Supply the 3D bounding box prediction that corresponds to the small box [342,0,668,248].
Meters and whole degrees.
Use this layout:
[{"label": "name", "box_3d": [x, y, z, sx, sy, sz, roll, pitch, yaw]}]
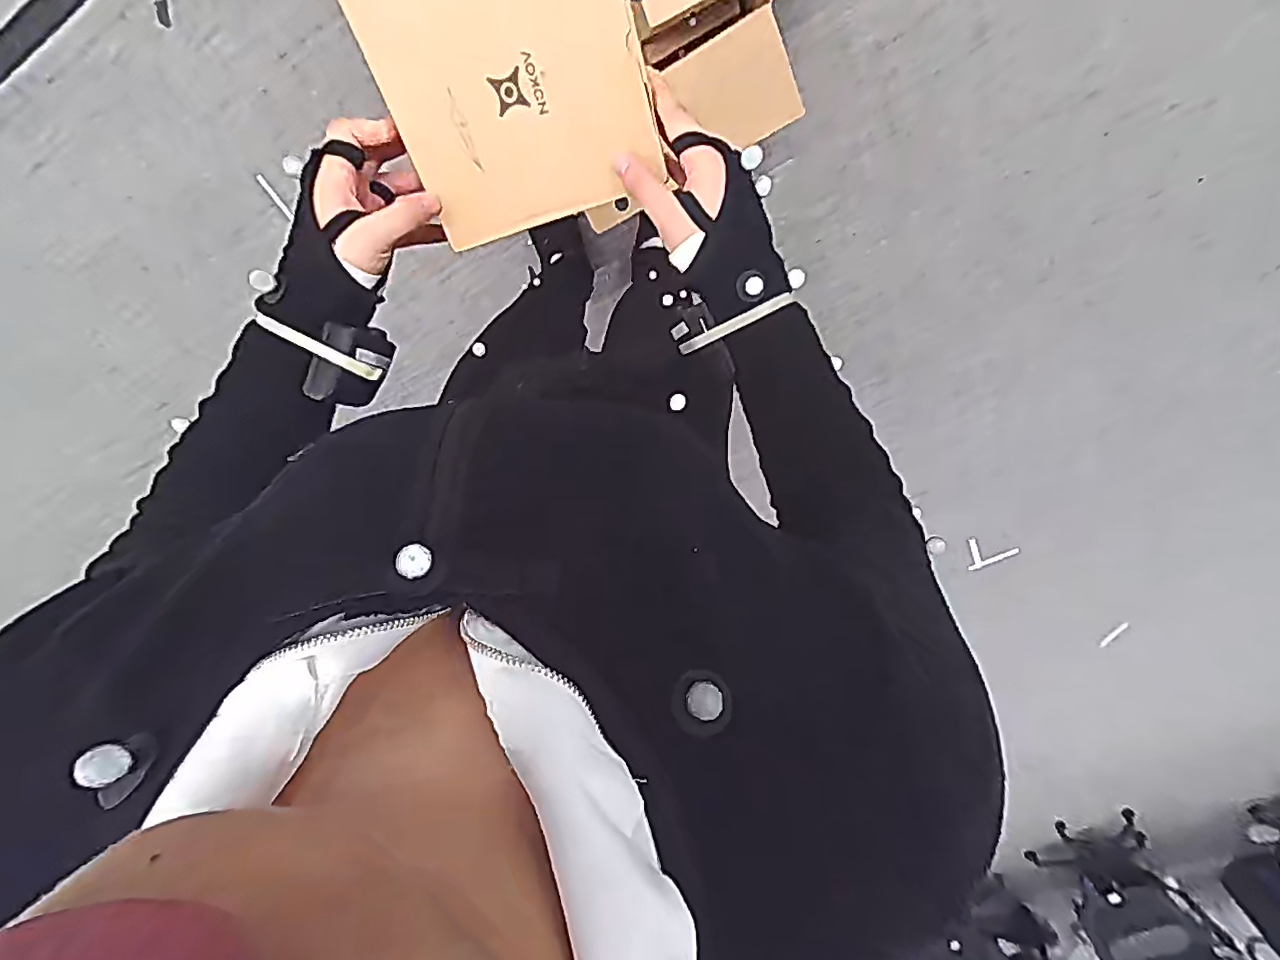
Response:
[{"label": "small box", "box_3d": [-0.084, -0.308, 0.432, 0.179, 0.176, 0.168, -14, 121, 10]}]
